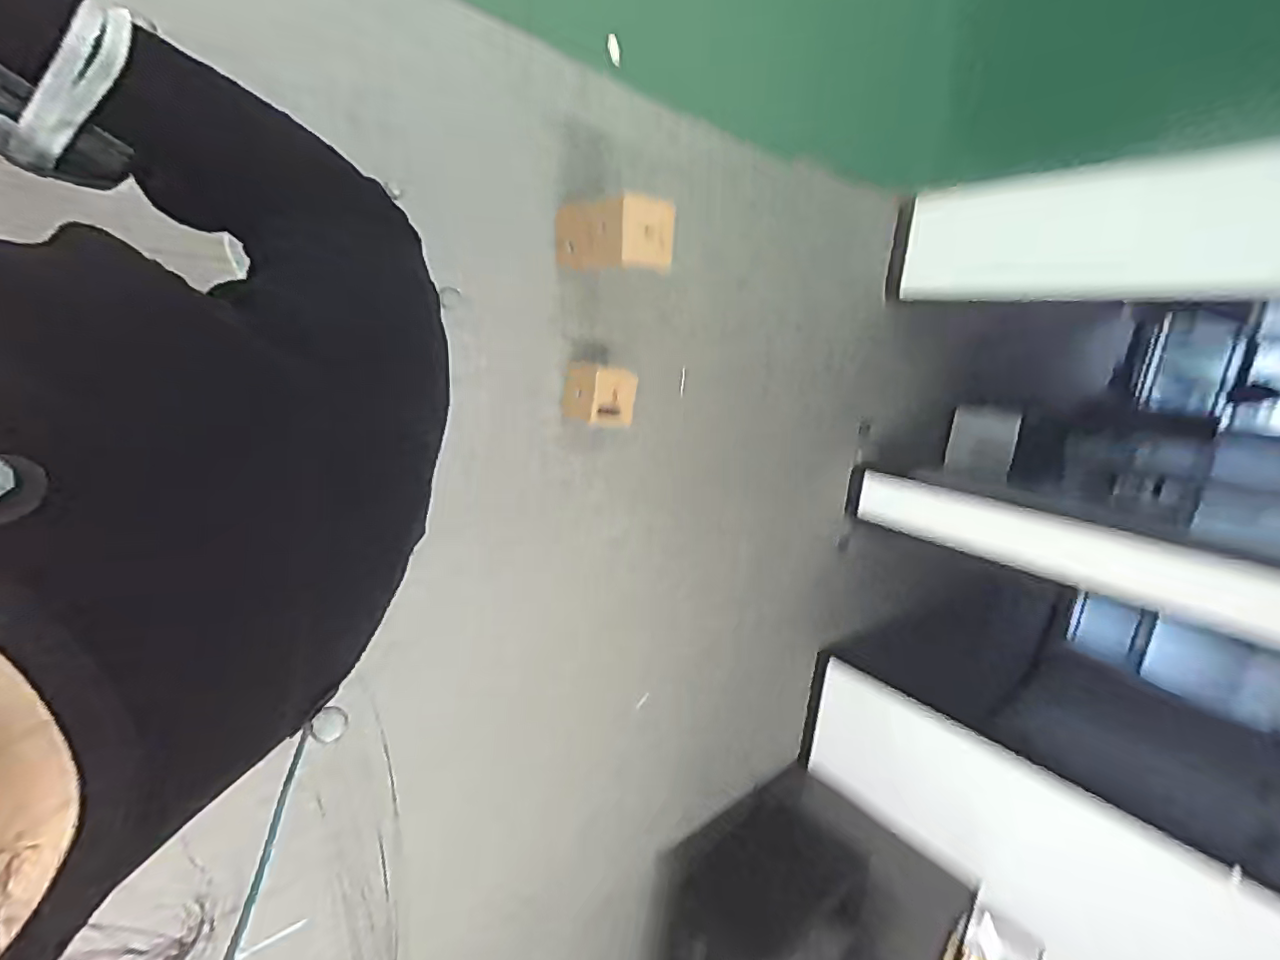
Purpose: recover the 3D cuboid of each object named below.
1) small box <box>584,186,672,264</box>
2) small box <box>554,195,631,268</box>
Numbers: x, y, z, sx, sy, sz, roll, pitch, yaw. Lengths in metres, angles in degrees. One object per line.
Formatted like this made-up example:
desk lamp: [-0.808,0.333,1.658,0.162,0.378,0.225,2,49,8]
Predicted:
small box: [-0.036,-0.681,1.464,0.179,0.176,0.168,-11,113,-38]
small box: [-0.139,-0.721,1.587,0.179,0.176,0.168,-10,112,-39]
